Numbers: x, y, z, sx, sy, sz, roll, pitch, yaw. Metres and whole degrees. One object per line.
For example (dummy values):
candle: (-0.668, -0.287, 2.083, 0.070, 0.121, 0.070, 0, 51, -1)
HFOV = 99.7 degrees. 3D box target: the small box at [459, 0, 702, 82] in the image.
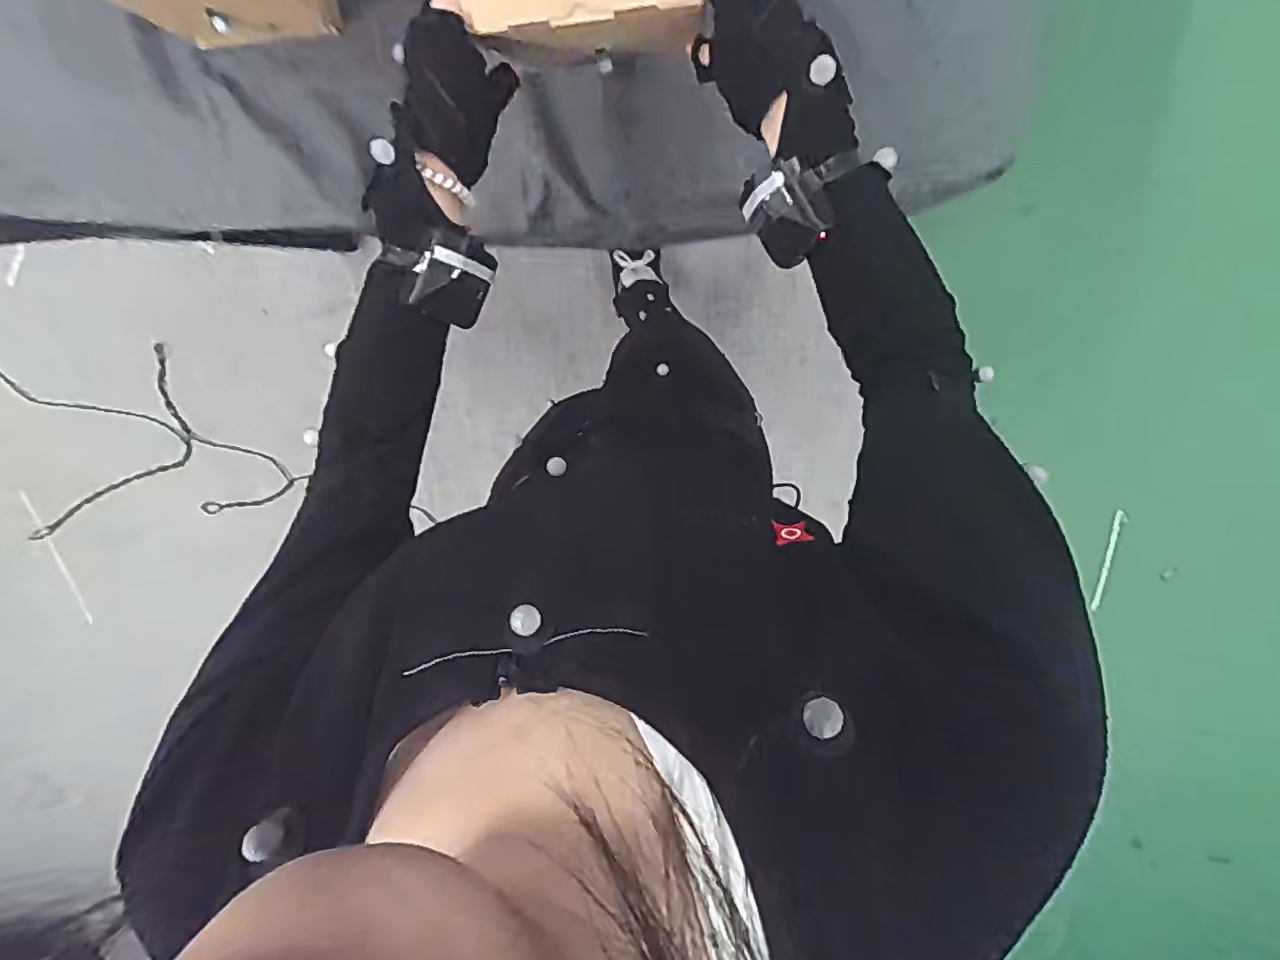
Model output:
small box: (-0.040, -0.422, 0.399, 0.168, 0.176, 0.179, -1, 119, 7)
